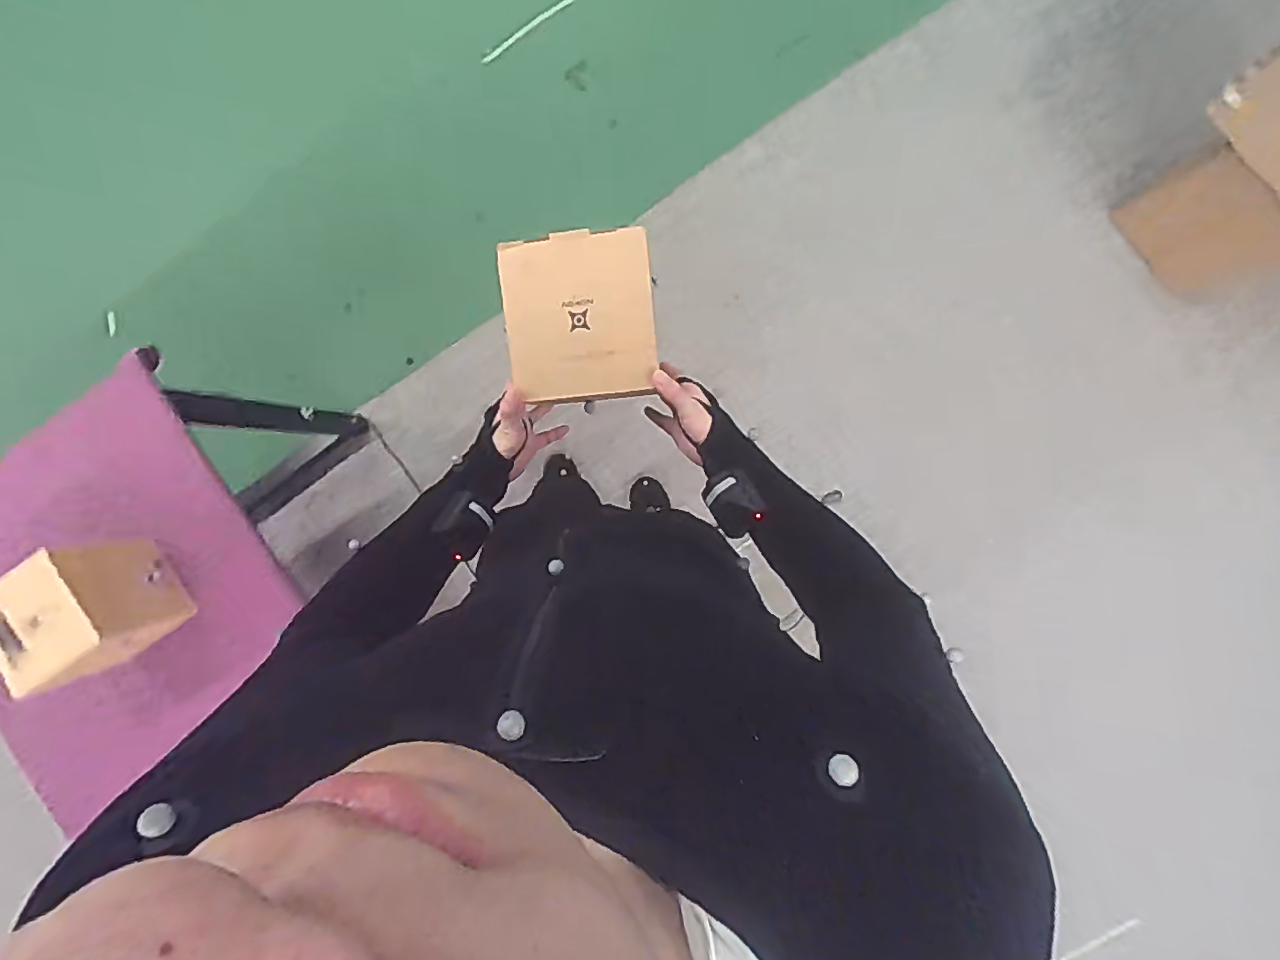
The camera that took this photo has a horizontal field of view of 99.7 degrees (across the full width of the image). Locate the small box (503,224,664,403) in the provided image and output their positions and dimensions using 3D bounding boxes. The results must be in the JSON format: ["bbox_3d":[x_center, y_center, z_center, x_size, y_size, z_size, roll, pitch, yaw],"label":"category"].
[{"bbox_3d":[-0.057,-0.188,0.658,0.168,0.176,0.179,-3,97,4],"label":"small box"}]
